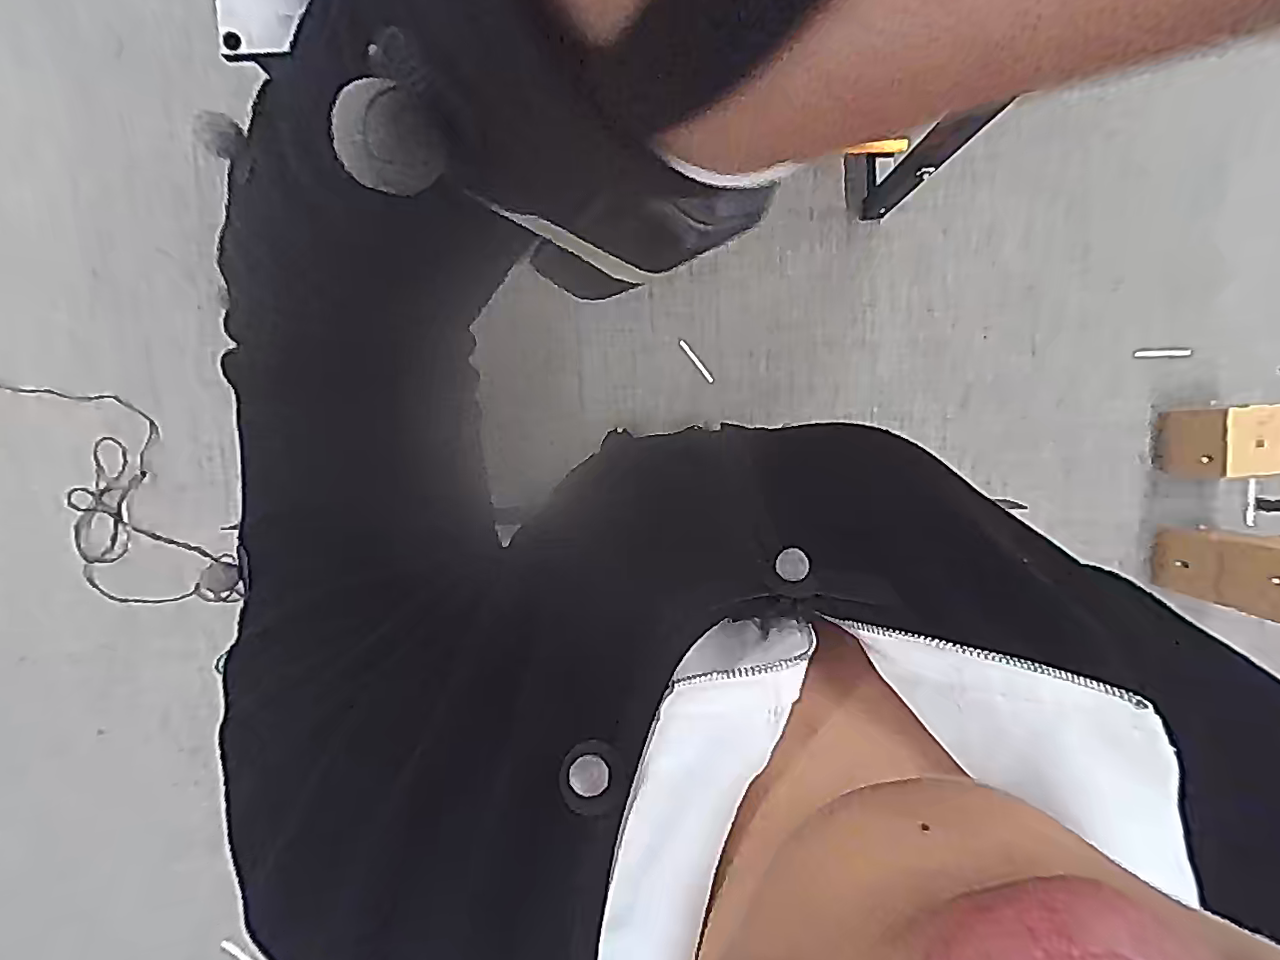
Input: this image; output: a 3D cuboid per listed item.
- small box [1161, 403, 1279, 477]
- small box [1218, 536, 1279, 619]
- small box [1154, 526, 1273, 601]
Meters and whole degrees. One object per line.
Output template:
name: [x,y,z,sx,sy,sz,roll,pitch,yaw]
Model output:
small box: [1.516,-0.107,1.410,0.168,0.176,0.179,-5,95,0]
small box: [1.536,0.231,1.278,0.168,0.176,0.179,-2,96,0]
small box: [1.534,0.220,1.444,0.179,0.176,0.168,0,96,1]
